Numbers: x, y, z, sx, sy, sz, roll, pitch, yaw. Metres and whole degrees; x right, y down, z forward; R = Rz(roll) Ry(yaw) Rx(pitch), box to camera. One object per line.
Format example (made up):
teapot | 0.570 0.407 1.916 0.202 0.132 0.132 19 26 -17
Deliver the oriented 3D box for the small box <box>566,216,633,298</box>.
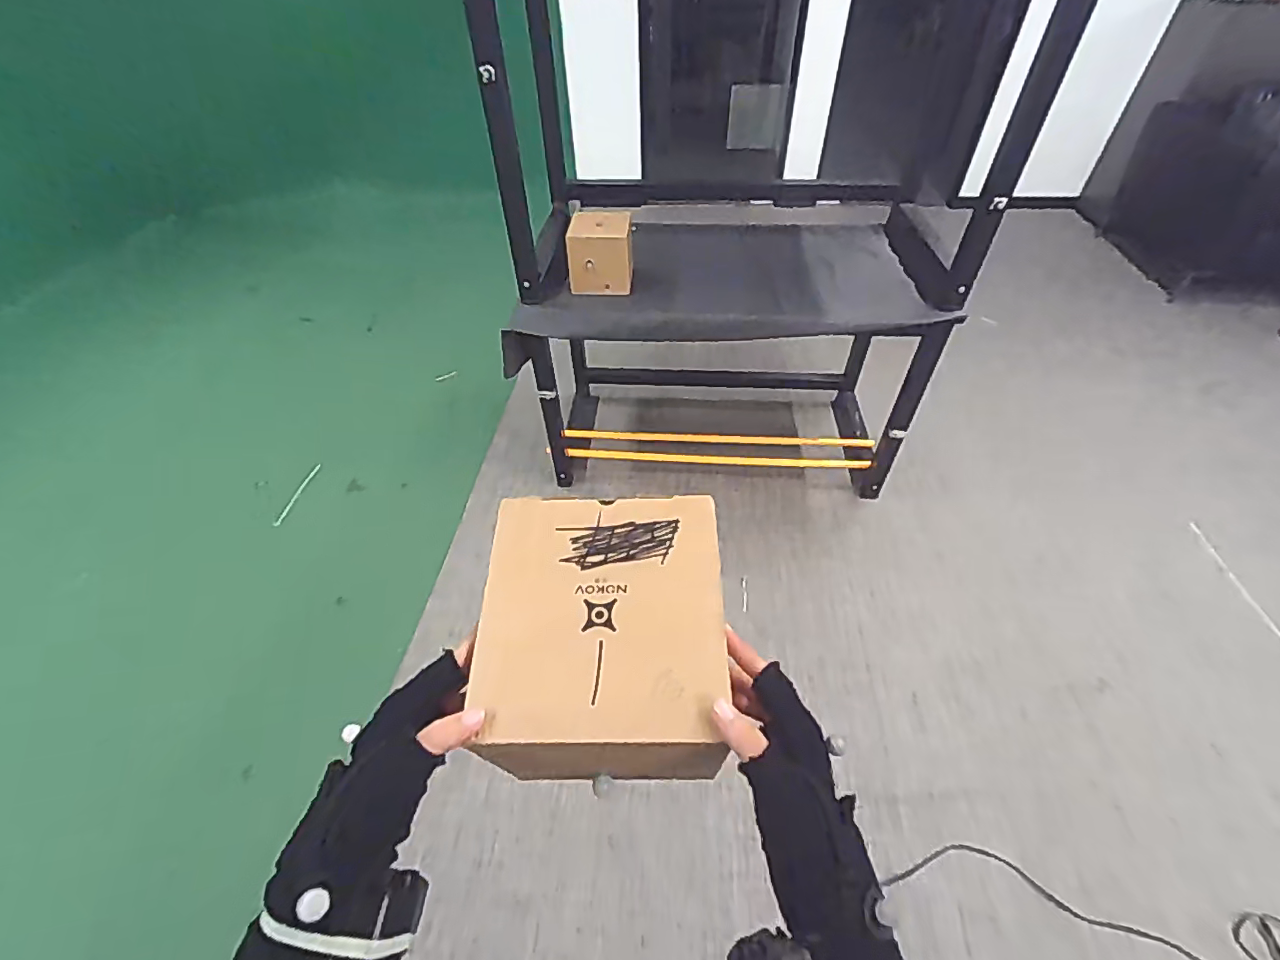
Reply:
small box | -0.109 -0.634 1.543 0.168 0.176 0.179 1 45 3
